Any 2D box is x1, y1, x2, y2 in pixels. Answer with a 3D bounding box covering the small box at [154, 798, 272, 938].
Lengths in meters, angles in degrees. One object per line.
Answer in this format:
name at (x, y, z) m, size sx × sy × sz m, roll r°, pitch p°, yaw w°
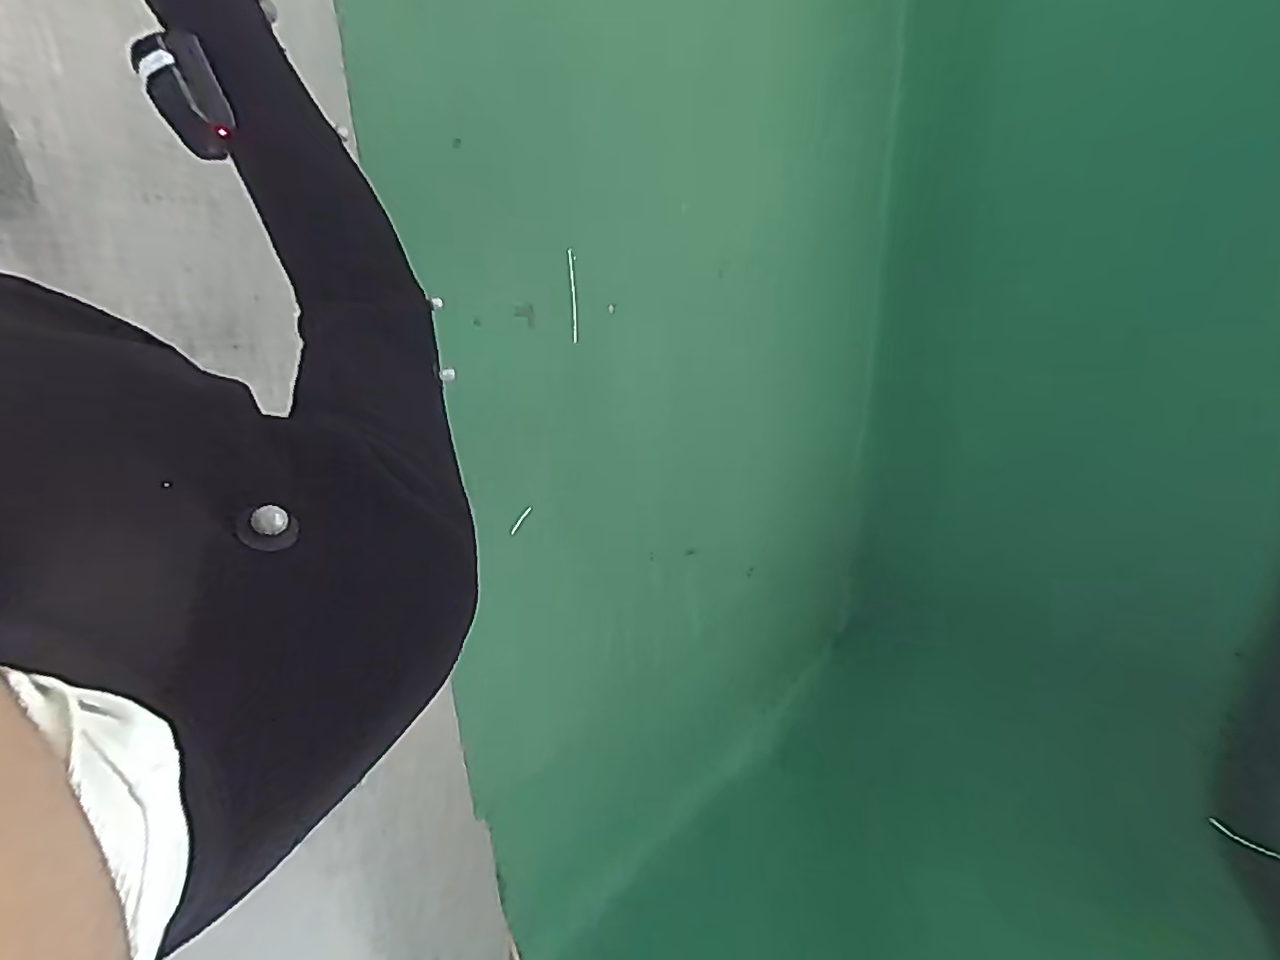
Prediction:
small box at (-0.988, 0.878, 1.250) m, size 0.168 × 0.176 × 0.179 m, roll -23°, pitch 116°, yaw -39°
